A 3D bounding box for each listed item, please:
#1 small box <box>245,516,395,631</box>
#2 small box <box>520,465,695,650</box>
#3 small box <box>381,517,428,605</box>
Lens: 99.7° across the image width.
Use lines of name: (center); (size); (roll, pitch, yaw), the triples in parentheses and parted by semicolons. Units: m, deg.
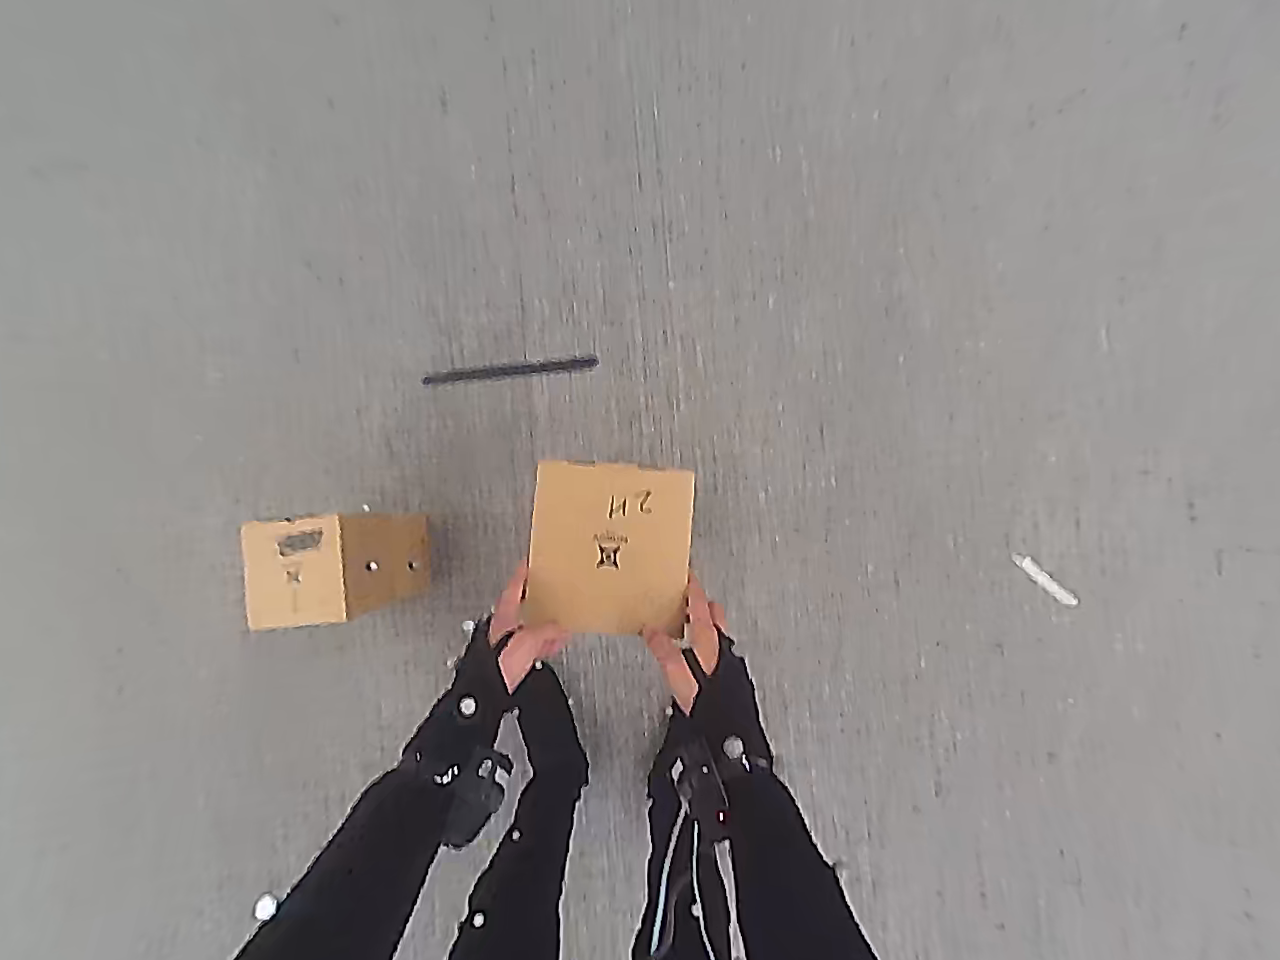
small box: (-0.551, 0.155, 0.949); (0.168, 0.176, 0.179); (-5, 88, 2)
small box: (-0.033, 0.084, 0.628); (0.168, 0.176, 0.179); (5, 85, -1)
small box: (-0.551, 0.165, 1.113); (0.179, 0.176, 0.168); (-5, 87, 2)
